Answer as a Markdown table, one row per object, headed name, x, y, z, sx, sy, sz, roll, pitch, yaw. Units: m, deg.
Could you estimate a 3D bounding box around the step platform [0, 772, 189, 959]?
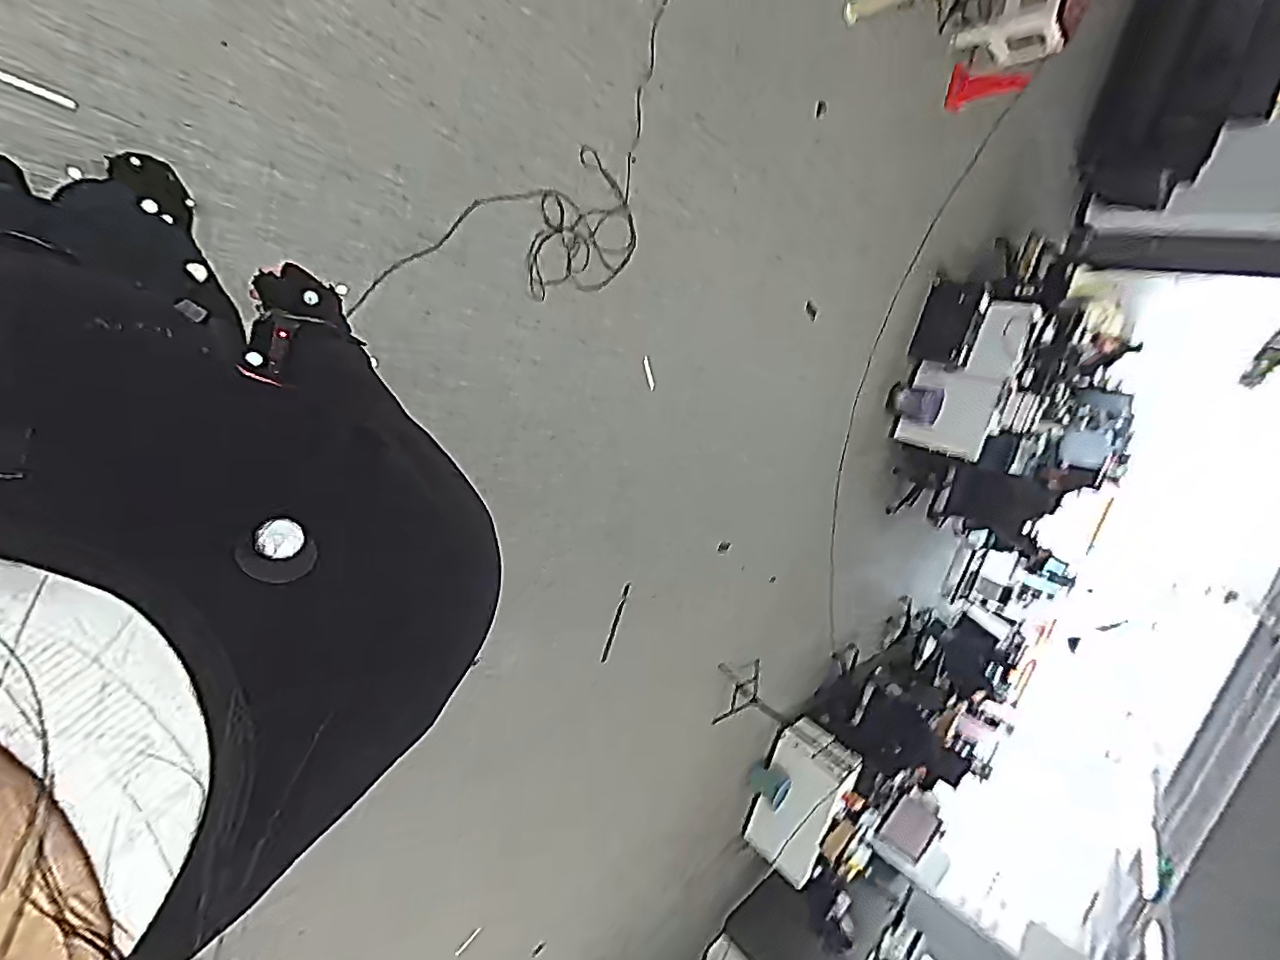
| name | x | y | z | sx | sy | sz | roll | pitch | yaw |
| --- | --- | --- | --- | --- | --- | --- | --- | --- | --- |
| step platform | -1.365 | 0.882 | 1.104 | 0.684 | 0.204 | 0.286 | 3 | 106 | -46 |
